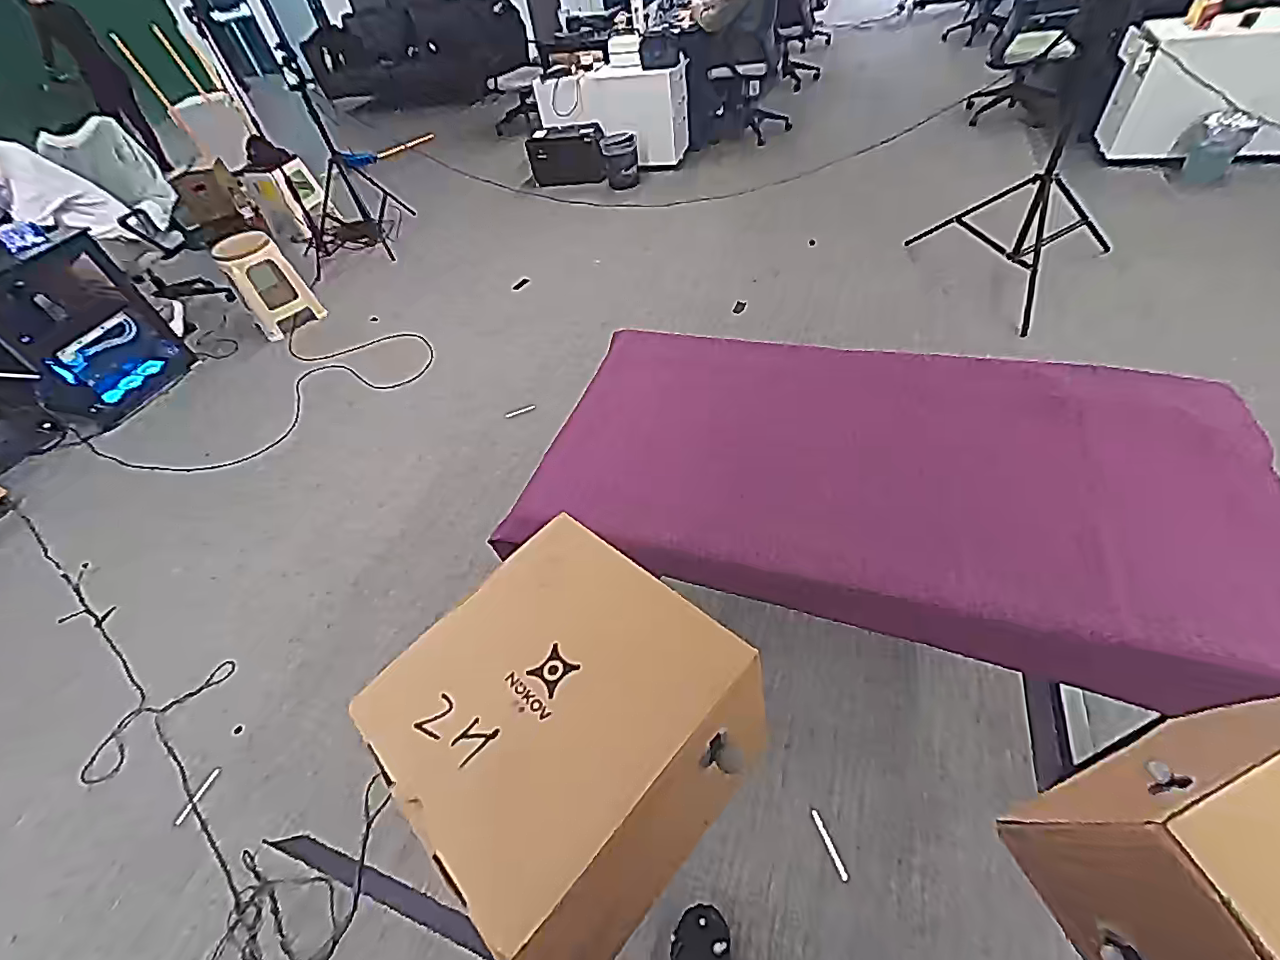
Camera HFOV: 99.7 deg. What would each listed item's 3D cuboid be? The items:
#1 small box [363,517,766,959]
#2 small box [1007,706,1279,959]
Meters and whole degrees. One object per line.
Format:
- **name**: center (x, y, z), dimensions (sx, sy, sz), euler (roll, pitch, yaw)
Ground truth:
- **small box**: center (-0.033, 0.164, 0.360), dimensions (0.168, 0.176, 0.179), euler (31, 63, 35)
- **small box**: center (0.362, 0.237, 0.299), dimensions (0.179, 0.176, 0.168), euler (-23, 59, -8)
